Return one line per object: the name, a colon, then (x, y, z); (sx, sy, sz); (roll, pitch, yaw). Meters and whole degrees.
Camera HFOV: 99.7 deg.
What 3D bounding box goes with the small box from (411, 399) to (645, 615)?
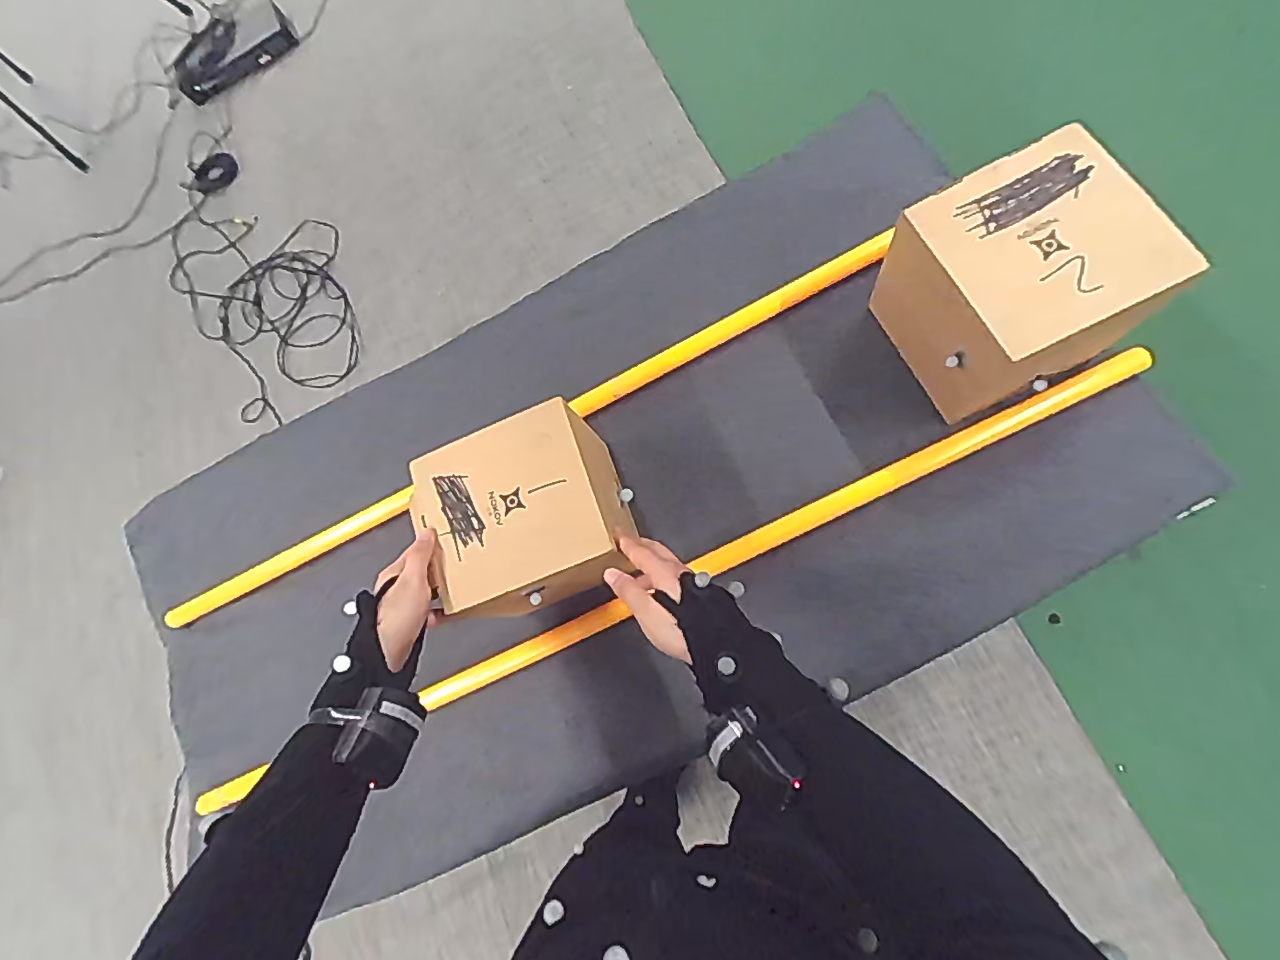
small box: (-0.112, 0.042, 0.594); (0.179, 0.176, 0.168); (-23, 74, 6)
